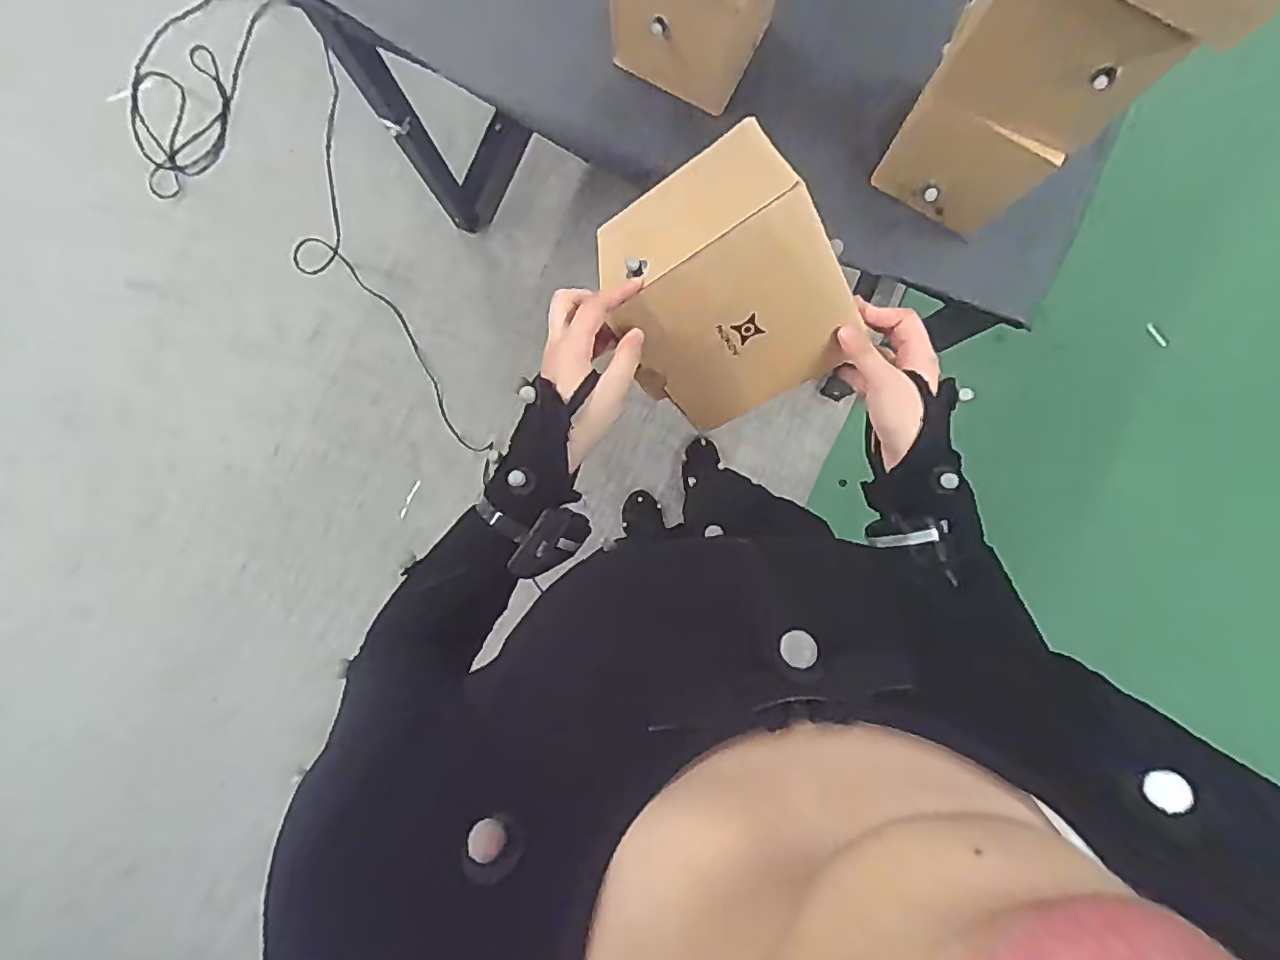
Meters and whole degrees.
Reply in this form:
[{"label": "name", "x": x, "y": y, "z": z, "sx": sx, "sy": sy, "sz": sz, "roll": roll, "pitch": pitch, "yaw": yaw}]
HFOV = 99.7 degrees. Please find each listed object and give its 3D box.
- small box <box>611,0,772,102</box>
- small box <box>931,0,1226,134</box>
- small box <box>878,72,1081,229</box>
[{"label": "small box", "x": 0.070, "y": -0.636, "z": 0.687, "sx": 0.179, "sy": 0.176, "sz": 0.168, "roll": 27, "pitch": 88, "yaw": 2}, {"label": "small box", "x": 0.425, "y": -0.476, "z": 0.515, "sx": 0.179, "sy": 0.176, "sz": 0.168, "roll": 23, "pitch": 85, "yaw": 3}, {"label": "small box", "x": 0.435, "y": -0.462, "z": 0.677, "sx": 0.168, "sy": 0.176, "sz": 0.179, "roll": 31, "pitch": 88, "yaw": 2}]
